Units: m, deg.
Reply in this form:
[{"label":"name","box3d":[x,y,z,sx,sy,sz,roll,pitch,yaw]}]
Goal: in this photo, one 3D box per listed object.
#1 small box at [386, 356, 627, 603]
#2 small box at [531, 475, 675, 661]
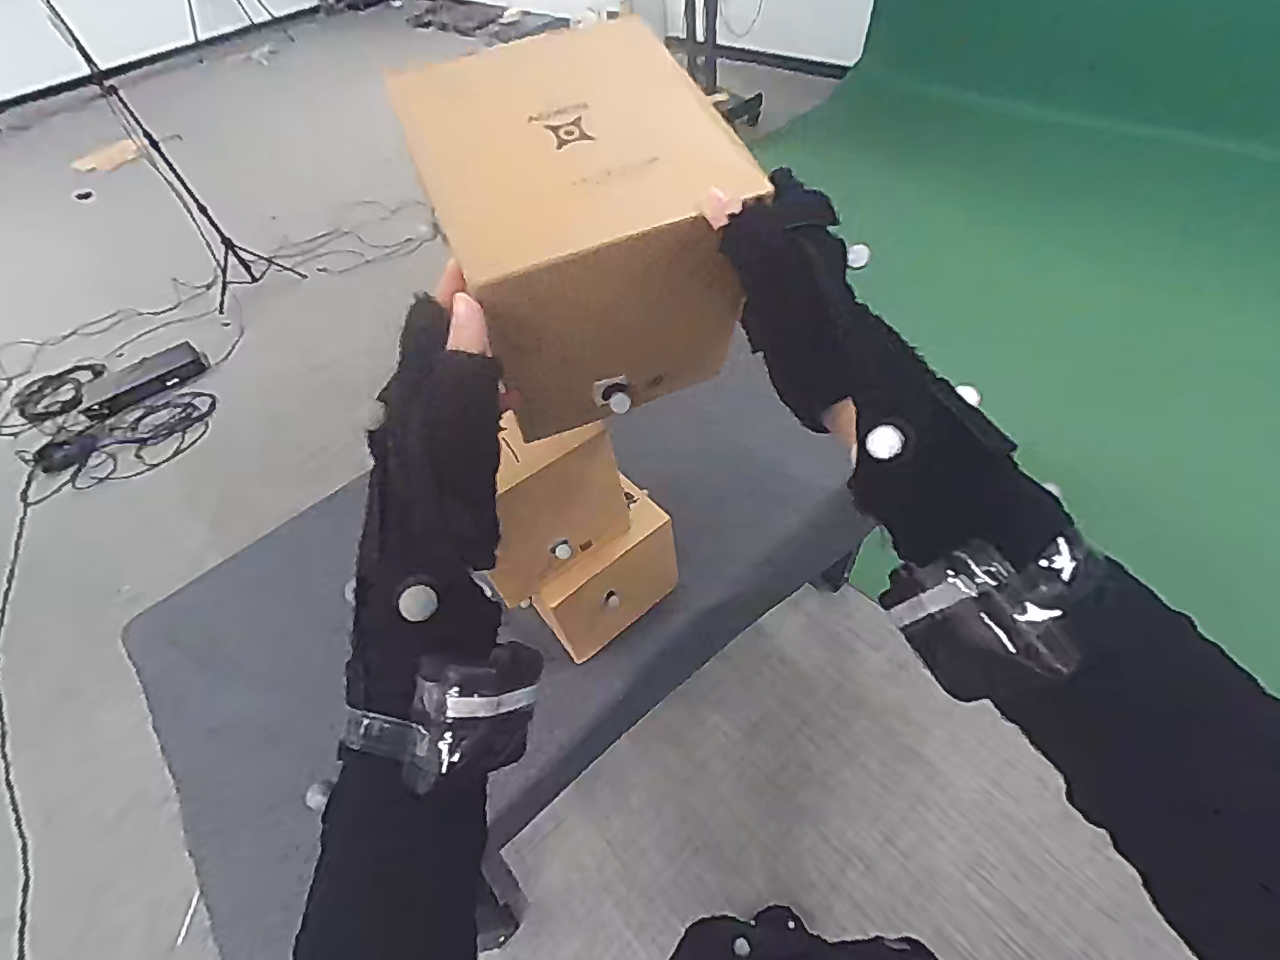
[{"label":"small box","box3d":[-0.137,0.000,0.593,0.168,0.176,0.179,-36,52,-18]},{"label":"small box","box3d":[-0.071,0.103,0.710,0.179,0.176,0.168,-36,54,-18]}]
